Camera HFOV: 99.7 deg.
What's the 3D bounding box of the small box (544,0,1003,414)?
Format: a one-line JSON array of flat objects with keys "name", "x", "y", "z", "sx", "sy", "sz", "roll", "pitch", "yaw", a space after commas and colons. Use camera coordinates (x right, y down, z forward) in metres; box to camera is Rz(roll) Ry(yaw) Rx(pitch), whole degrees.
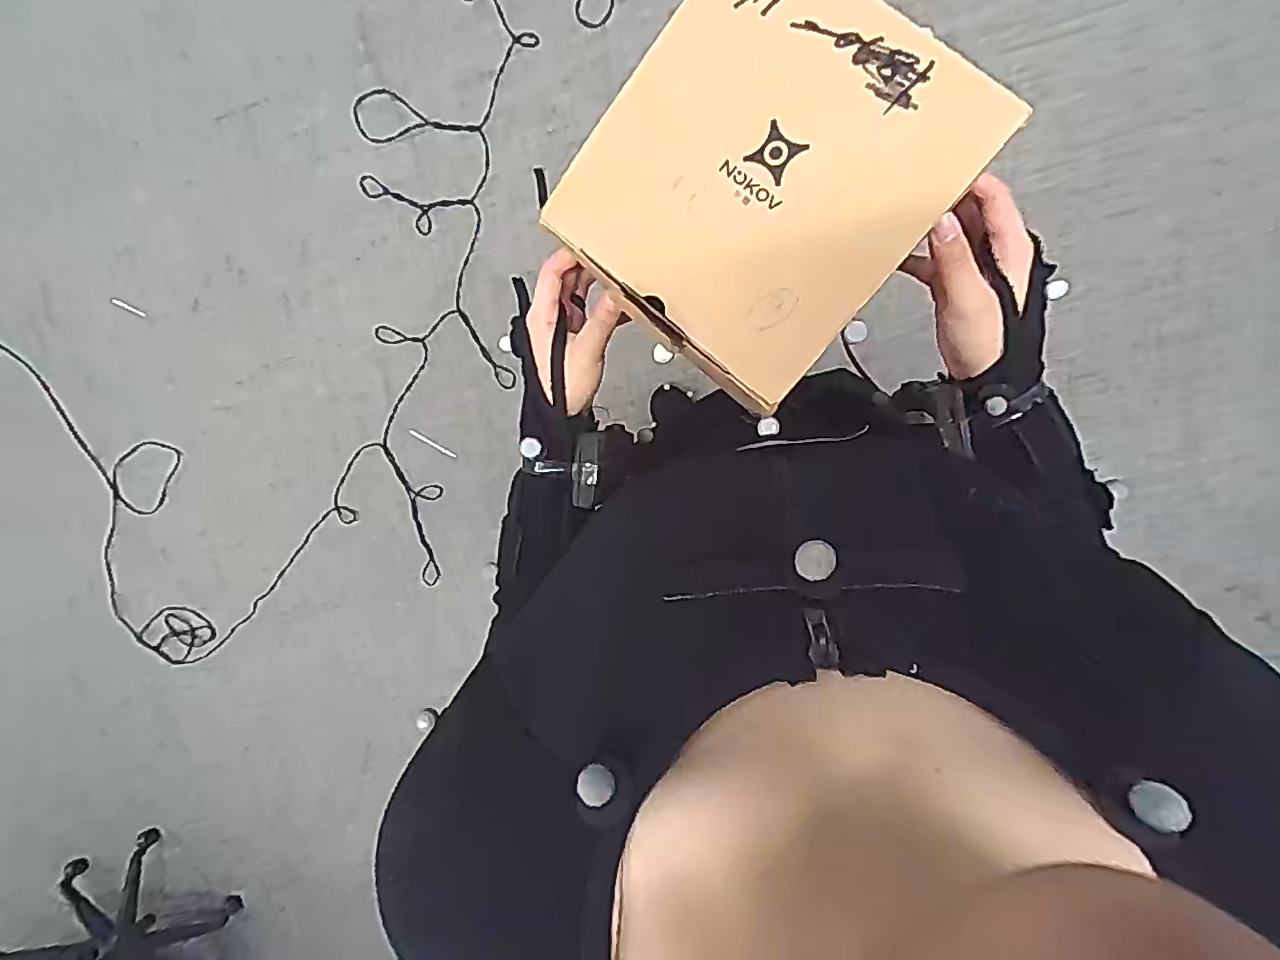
[{"name": "small box", "x": 0.075, "y": -0.156, "z": 0.354, "sx": 0.168, "sy": 0.176, "sz": 0.179, "roll": 41, "pitch": 101, "yaw": 6}]
